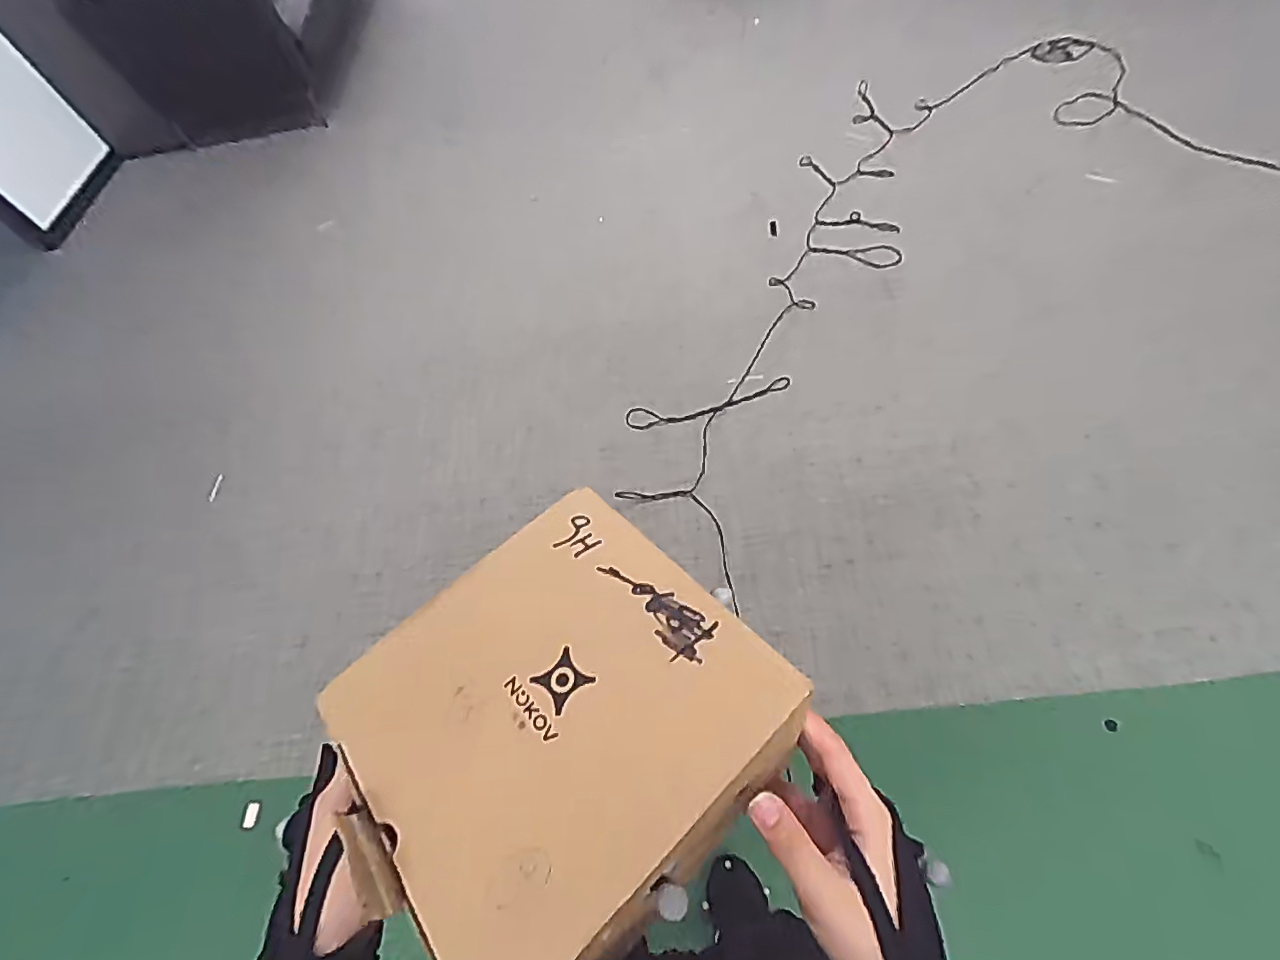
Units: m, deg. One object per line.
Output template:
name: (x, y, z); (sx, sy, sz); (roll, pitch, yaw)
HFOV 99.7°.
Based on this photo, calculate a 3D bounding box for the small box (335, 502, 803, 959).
small box: (-0.027, 0.154, 0.317); (0.179, 0.176, 0.168); (-40, 56, -18)
